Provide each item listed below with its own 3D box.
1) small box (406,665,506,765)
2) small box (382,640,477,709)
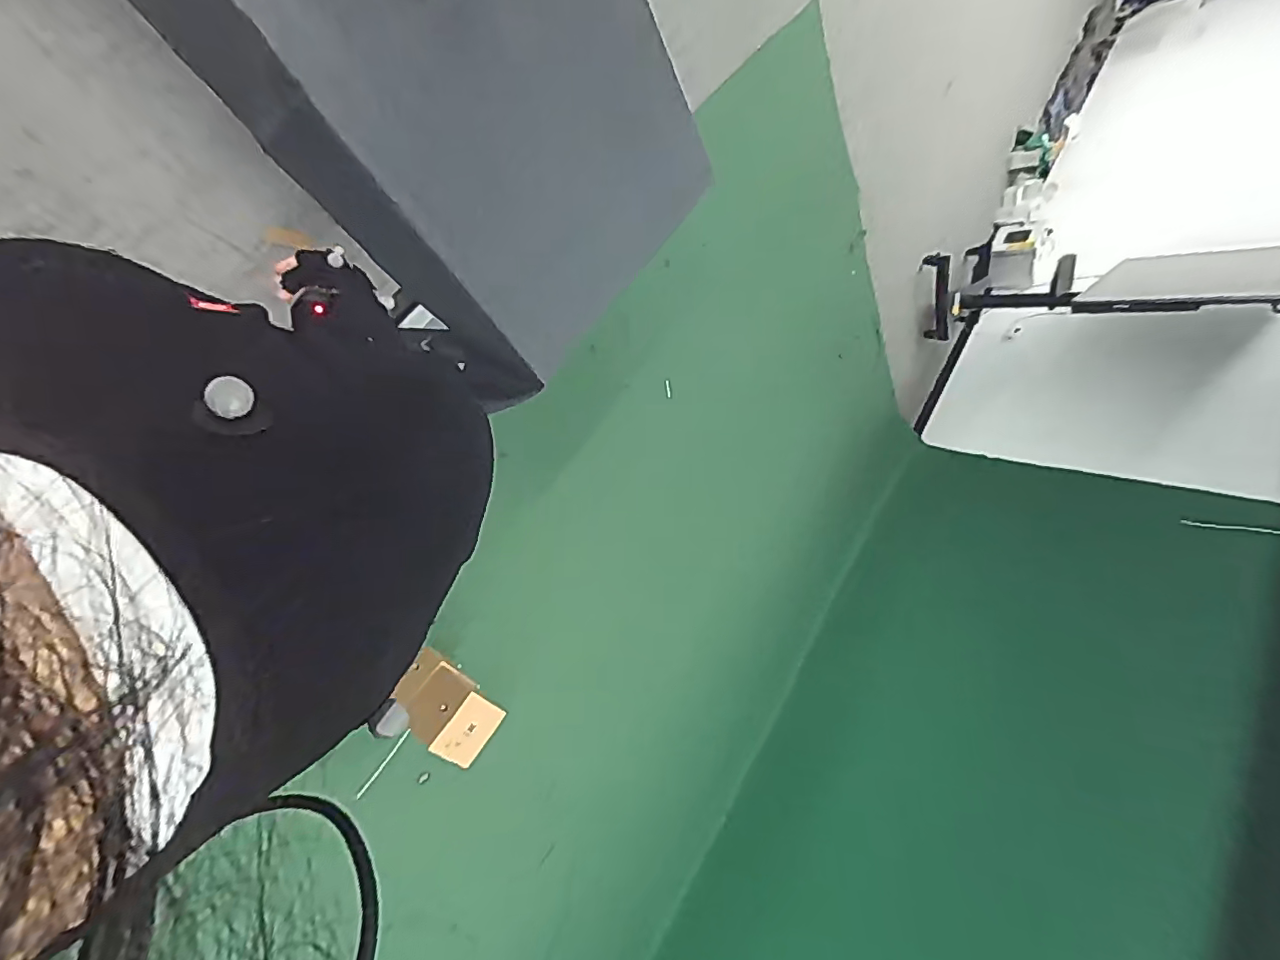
[{"bbox_3d":[-0.523,0.657,1.528,0.179,0.176,0.168,-52,133,-21],"label":"small box"},{"bbox_3d":[-0.639,0.610,1.635,0.168,0.176,0.179,-52,133,-23],"label":"small box"}]
